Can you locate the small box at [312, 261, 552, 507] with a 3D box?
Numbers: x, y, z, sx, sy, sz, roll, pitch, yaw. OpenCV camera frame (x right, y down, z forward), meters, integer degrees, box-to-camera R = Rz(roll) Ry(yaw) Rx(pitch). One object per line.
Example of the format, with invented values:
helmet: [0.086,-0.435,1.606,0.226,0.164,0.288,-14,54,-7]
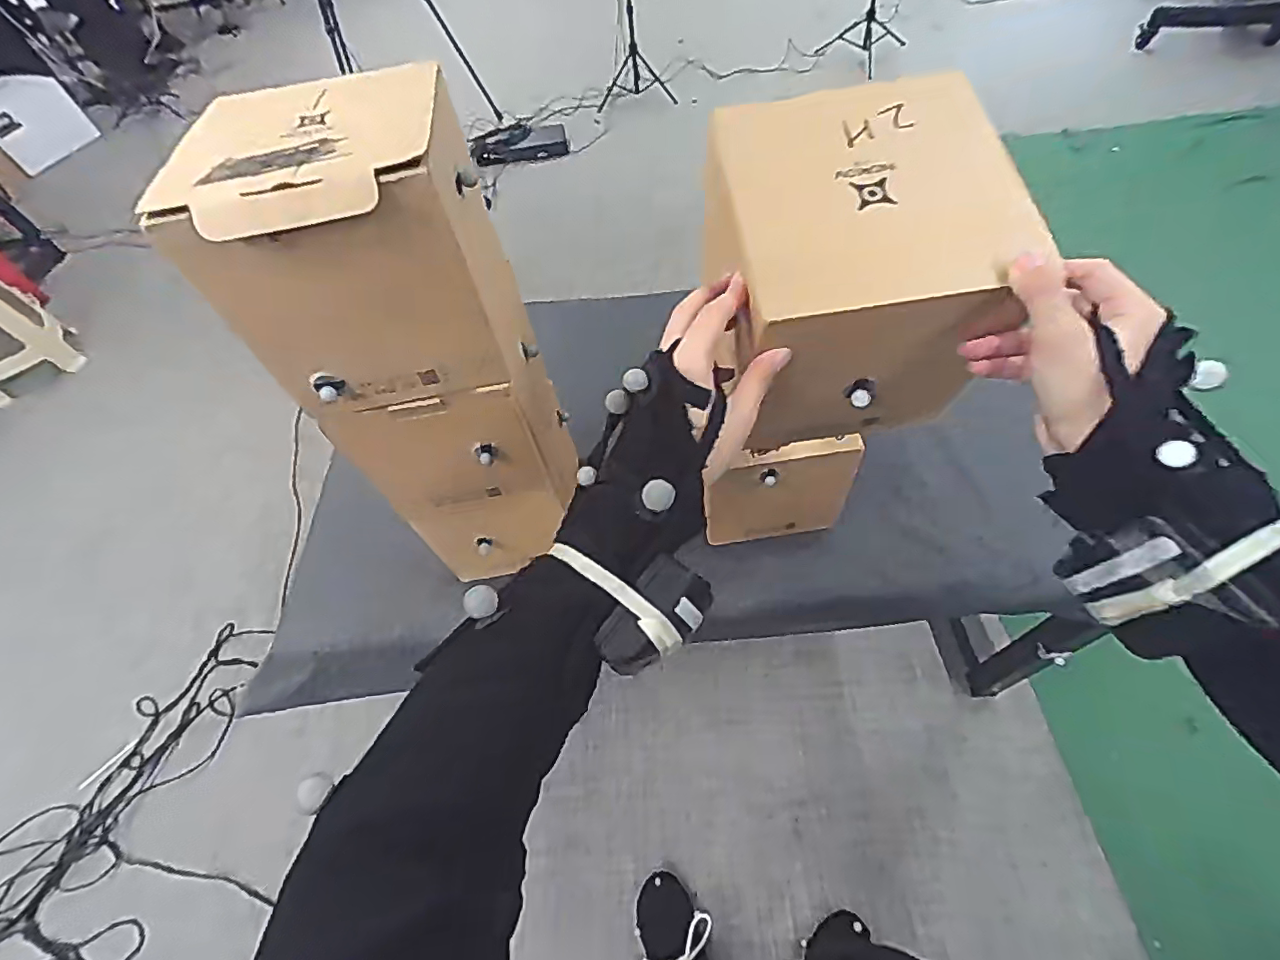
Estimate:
small box: [-0.188,-0.087,0.546,0.168,0.176,0.179,-10,54,-2]

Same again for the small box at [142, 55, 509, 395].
small box: [-0.202,-0.182,0.412,0.168,0.176,0.179,-11,54,-3]

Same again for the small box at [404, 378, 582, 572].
small box: [-0.172,0.003,0.680,0.168,0.176,0.179,-10,55,0]

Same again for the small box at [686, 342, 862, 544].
small box: [0.149,-0.043,0.674,0.168,0.176,0.179,-8,54,1]
